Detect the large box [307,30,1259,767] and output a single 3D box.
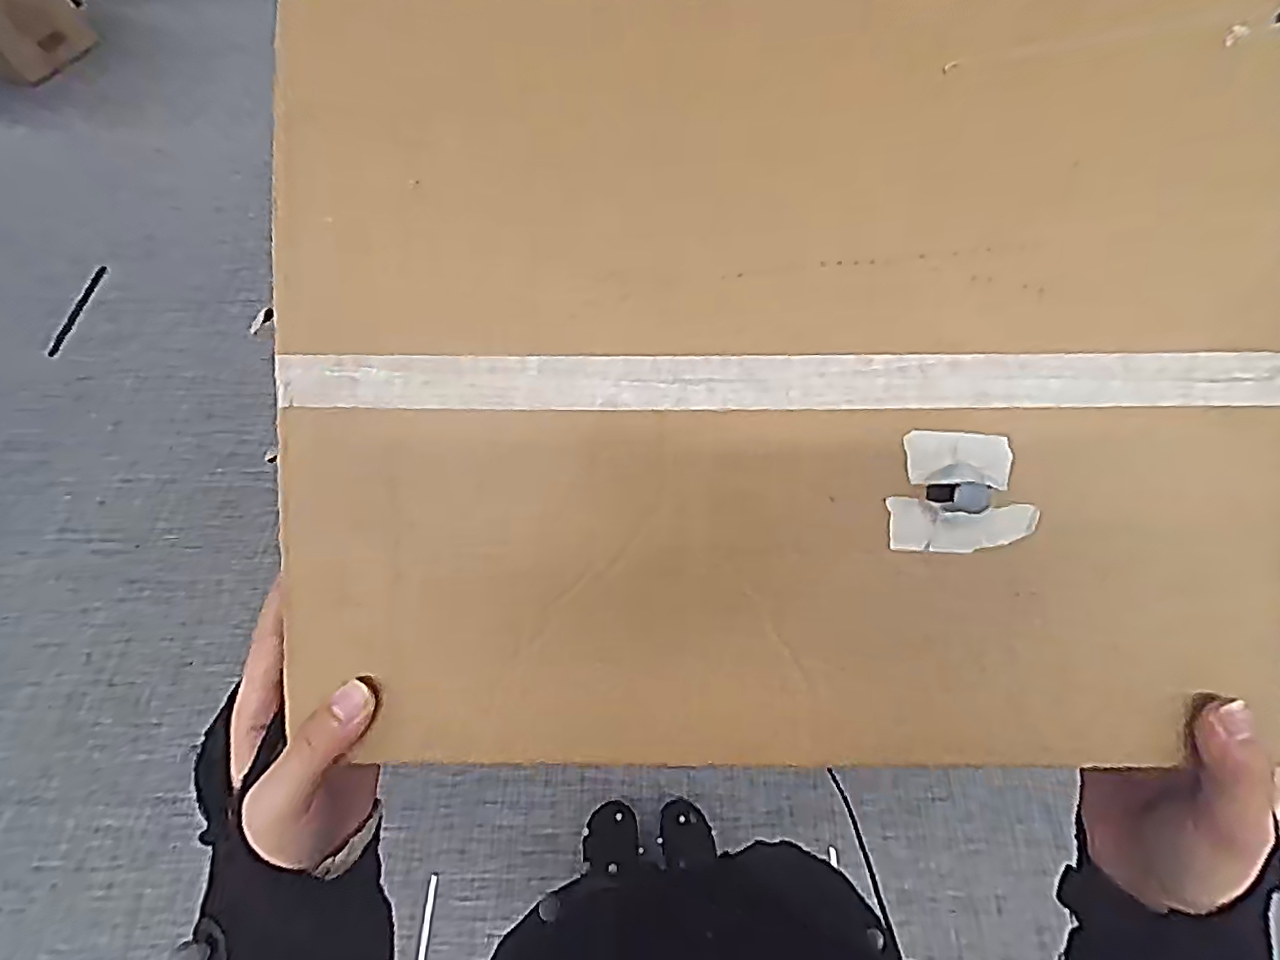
[{"bbox_3d":[0.057,-0.037,0.377,0.408,0.320,0.320,0,91,-1],"label":"large box"}]
